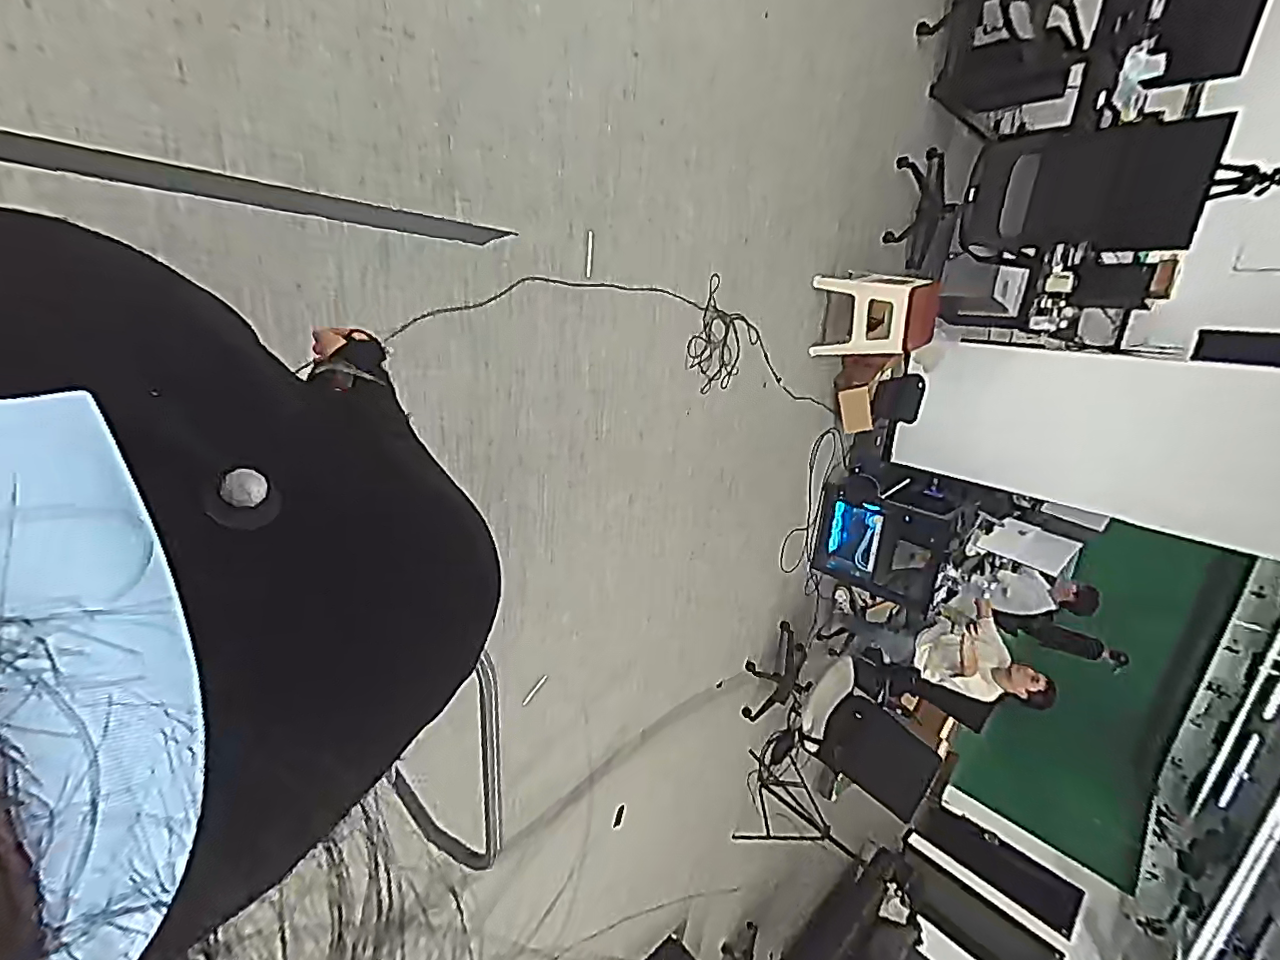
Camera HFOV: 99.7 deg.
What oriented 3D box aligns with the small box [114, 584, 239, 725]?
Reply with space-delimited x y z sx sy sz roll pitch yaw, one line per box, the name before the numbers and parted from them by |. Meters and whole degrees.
small box | -0.895 0.327 1.046 0.168 0.176 0.179 -8 110 -44
